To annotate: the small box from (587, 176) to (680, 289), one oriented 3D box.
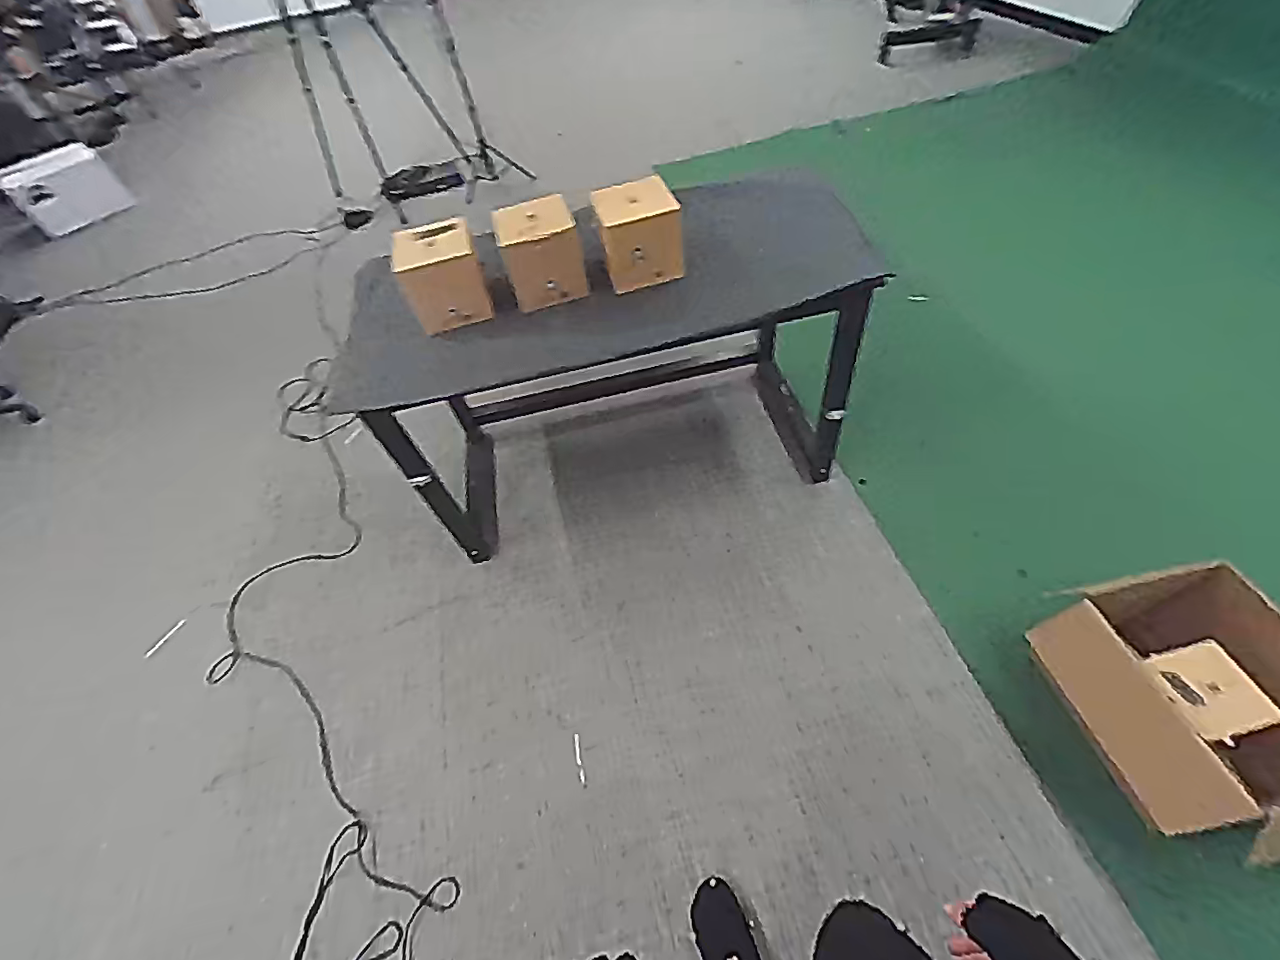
[{"bbox_3d":[-0.012,-0.559,1.243,0.168,0.176,0.179,-16,51,-4],"label":"small box"}]
